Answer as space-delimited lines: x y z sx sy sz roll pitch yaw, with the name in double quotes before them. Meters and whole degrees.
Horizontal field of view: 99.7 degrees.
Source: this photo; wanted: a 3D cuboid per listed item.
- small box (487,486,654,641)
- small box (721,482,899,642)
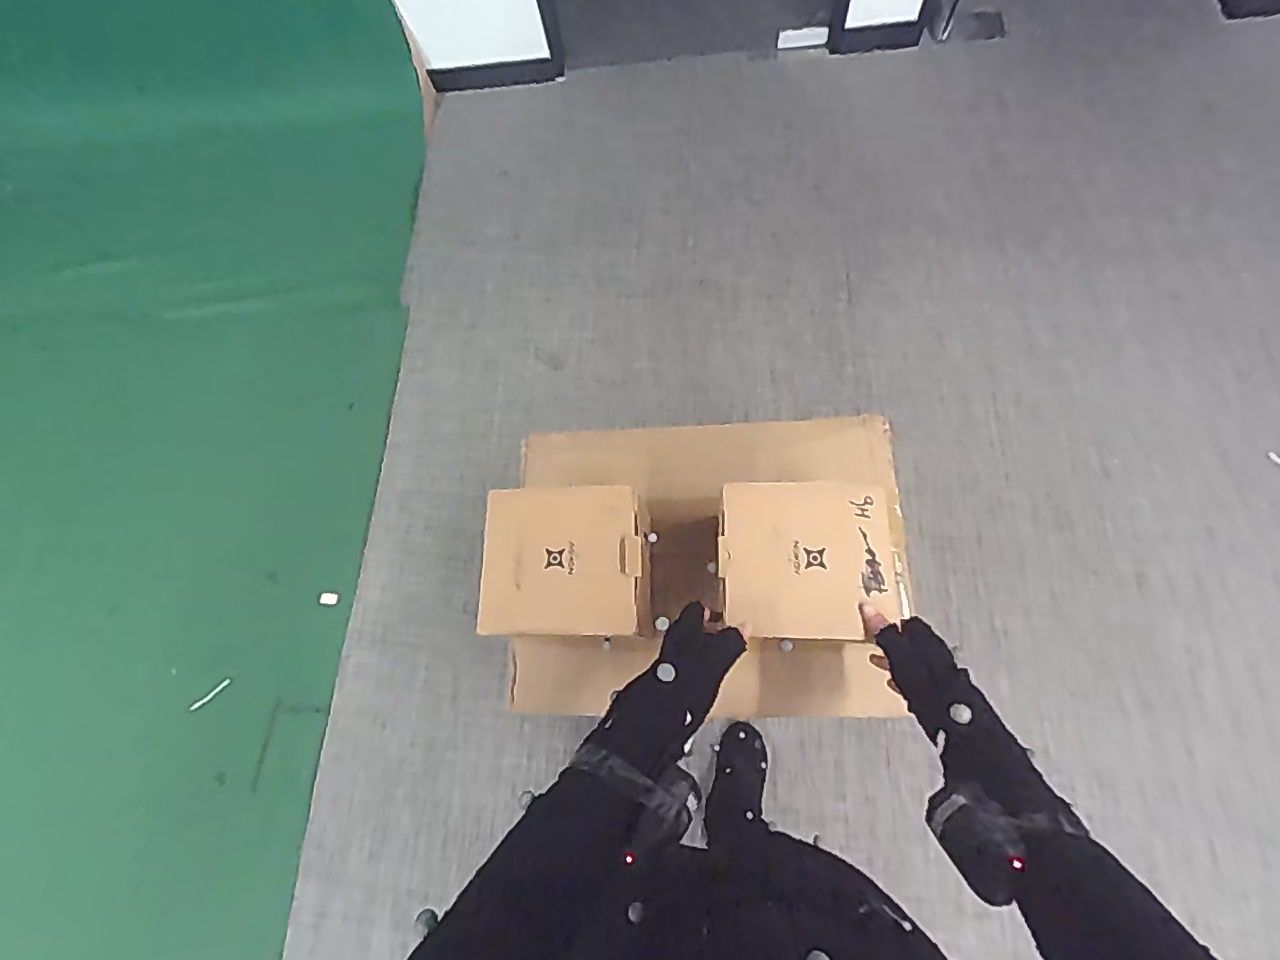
"small box" -0.073 0.112 0.676 0.179 0.176 0.168 -3 71 6
"small box" 0.187 0.104 0.648 0.179 0.176 0.168 0 73 7
